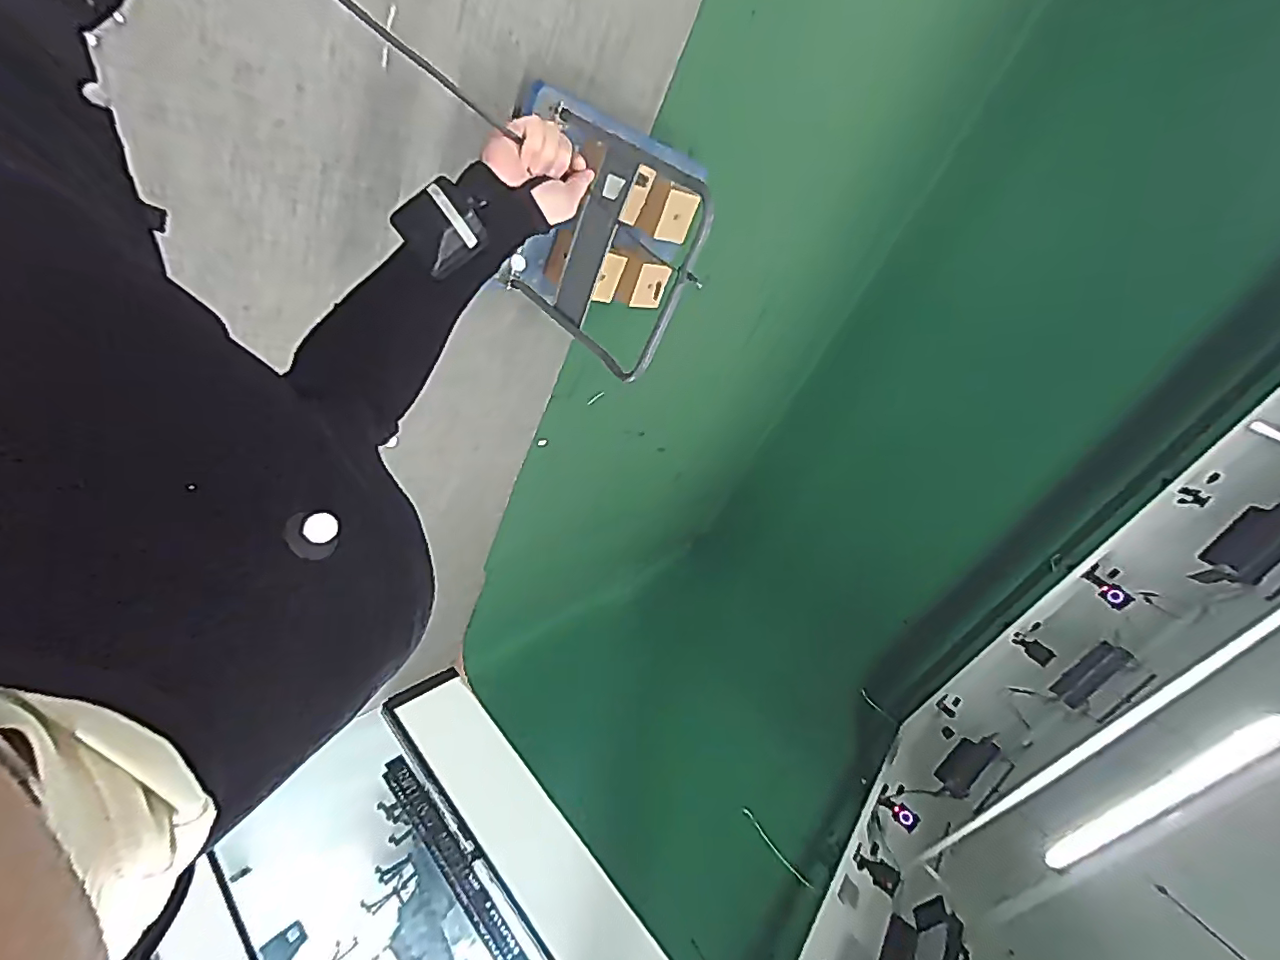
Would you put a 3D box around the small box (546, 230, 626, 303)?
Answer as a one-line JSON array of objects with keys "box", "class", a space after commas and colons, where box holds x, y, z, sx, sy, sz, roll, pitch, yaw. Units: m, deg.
[{"box": [-0.186, -0.726, 1.841, 0.179, 0.176, 0.168, -12, 137, -50], "class": "small box"}]

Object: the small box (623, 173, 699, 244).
[{"box": [0.070, -0.962, 1.914, 0.179, 0.176, 0.168, -18, 142, -48], "class": "small box"}]

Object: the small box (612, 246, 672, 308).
[{"box": [-0.018, -0.769, 2.049, 0.179, 0.176, 0.168, -17, 140, -47], "class": "small box"}]
